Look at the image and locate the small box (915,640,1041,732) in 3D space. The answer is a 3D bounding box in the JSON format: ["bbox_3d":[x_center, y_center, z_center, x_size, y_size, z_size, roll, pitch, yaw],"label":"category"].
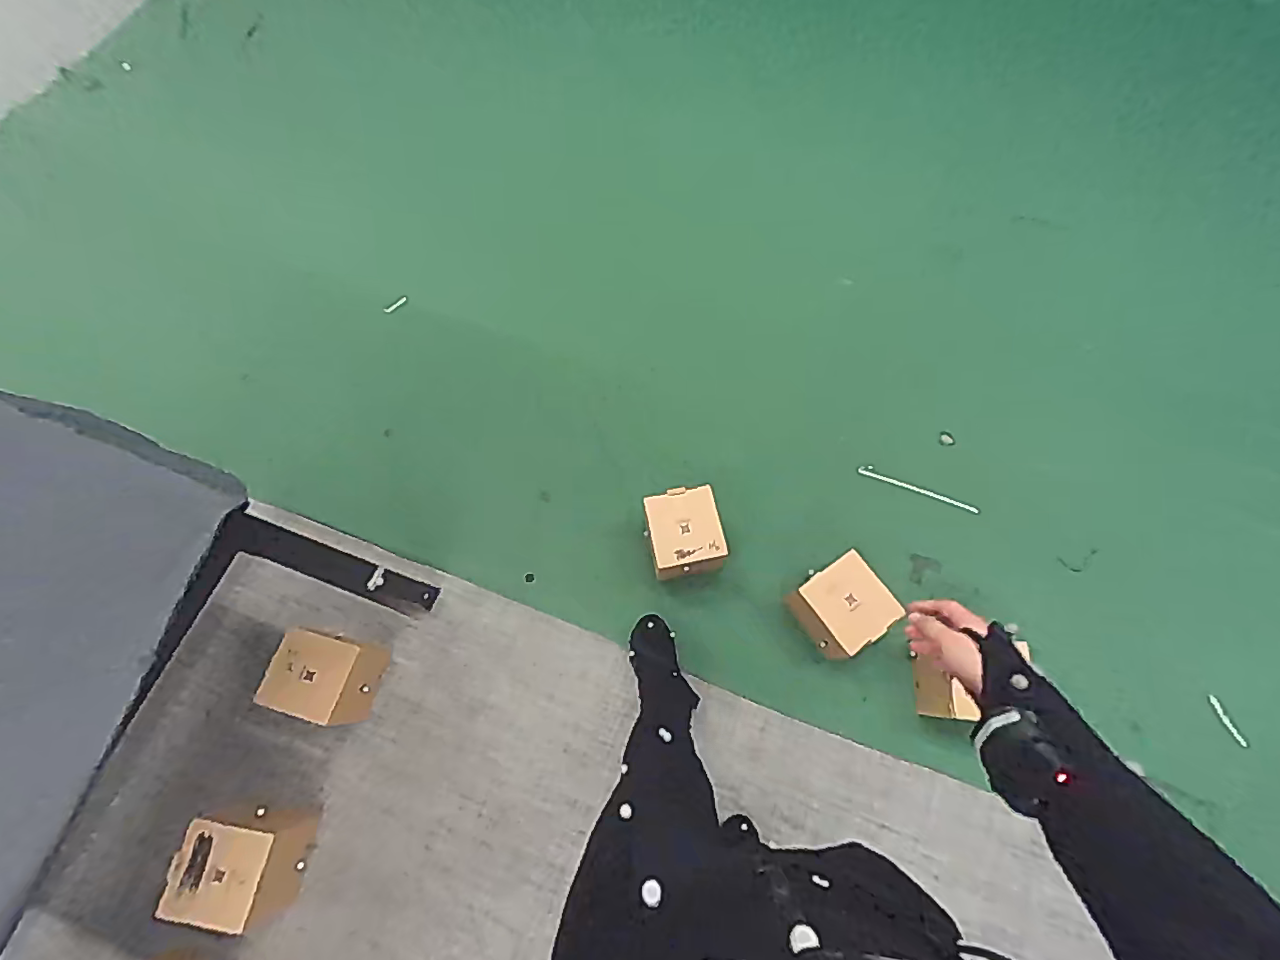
[{"bbox_3d":[0.727,0.450,1.189,0.179,0.176,0.168,5,71,2],"label":"small box"}]

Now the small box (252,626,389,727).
[{"bbox_3d":[-0.705,0.439,1.220,0.179,0.176,0.168,15,70,6],"label":"small box"}]

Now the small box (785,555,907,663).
[{"bbox_3d":[0.465,0.301,1.249,0.168,0.176,0.179,-33,72,-11],"label":"small box"}]

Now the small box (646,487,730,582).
[{"bbox_3d":[0.109,0.137,1.316,0.168,0.176,0.179,-10,69,-3],"label":"small box"}]
